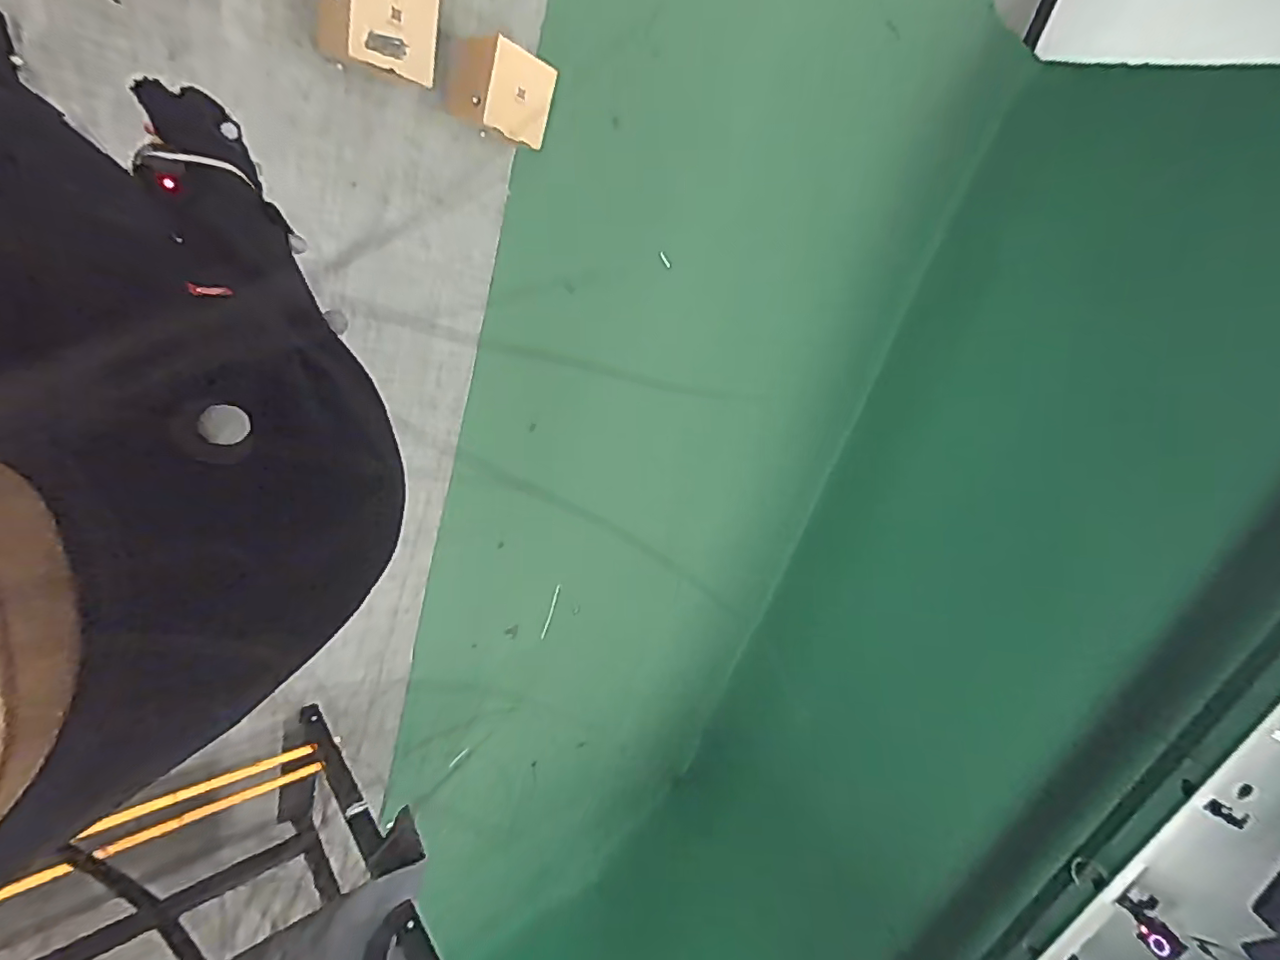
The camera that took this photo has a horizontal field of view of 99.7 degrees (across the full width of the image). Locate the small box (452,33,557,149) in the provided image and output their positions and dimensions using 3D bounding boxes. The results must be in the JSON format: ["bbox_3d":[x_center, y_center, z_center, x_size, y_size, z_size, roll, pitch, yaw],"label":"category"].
[{"bbox_3d":[-0.331,-0.930,1.301,0.168,0.176,0.179,-5,121,-47],"label":"small box"}]

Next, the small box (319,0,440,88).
[{"bbox_3d":[-0.523,-0.917,1.080,0.168,0.176,0.179,-11,124,-46],"label":"small box"}]
